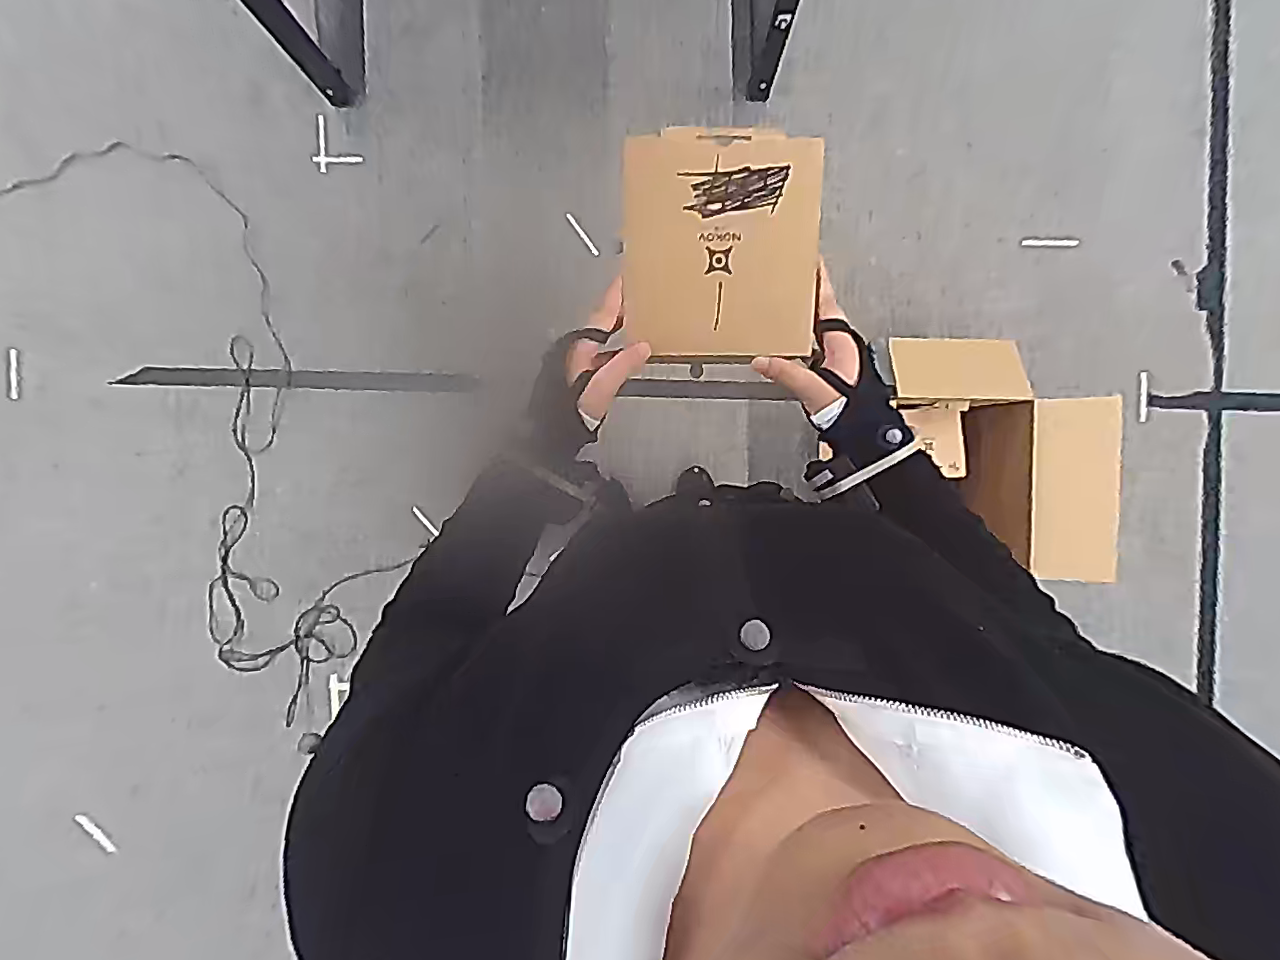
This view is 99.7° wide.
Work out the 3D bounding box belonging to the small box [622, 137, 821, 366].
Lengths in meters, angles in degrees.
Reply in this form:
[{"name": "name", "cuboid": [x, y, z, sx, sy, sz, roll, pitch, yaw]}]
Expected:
[{"name": "small box", "cuboid": [0.066, -0.207, 0.534, 0.168, 0.176, 0.179, 0, 100, 0]}]
